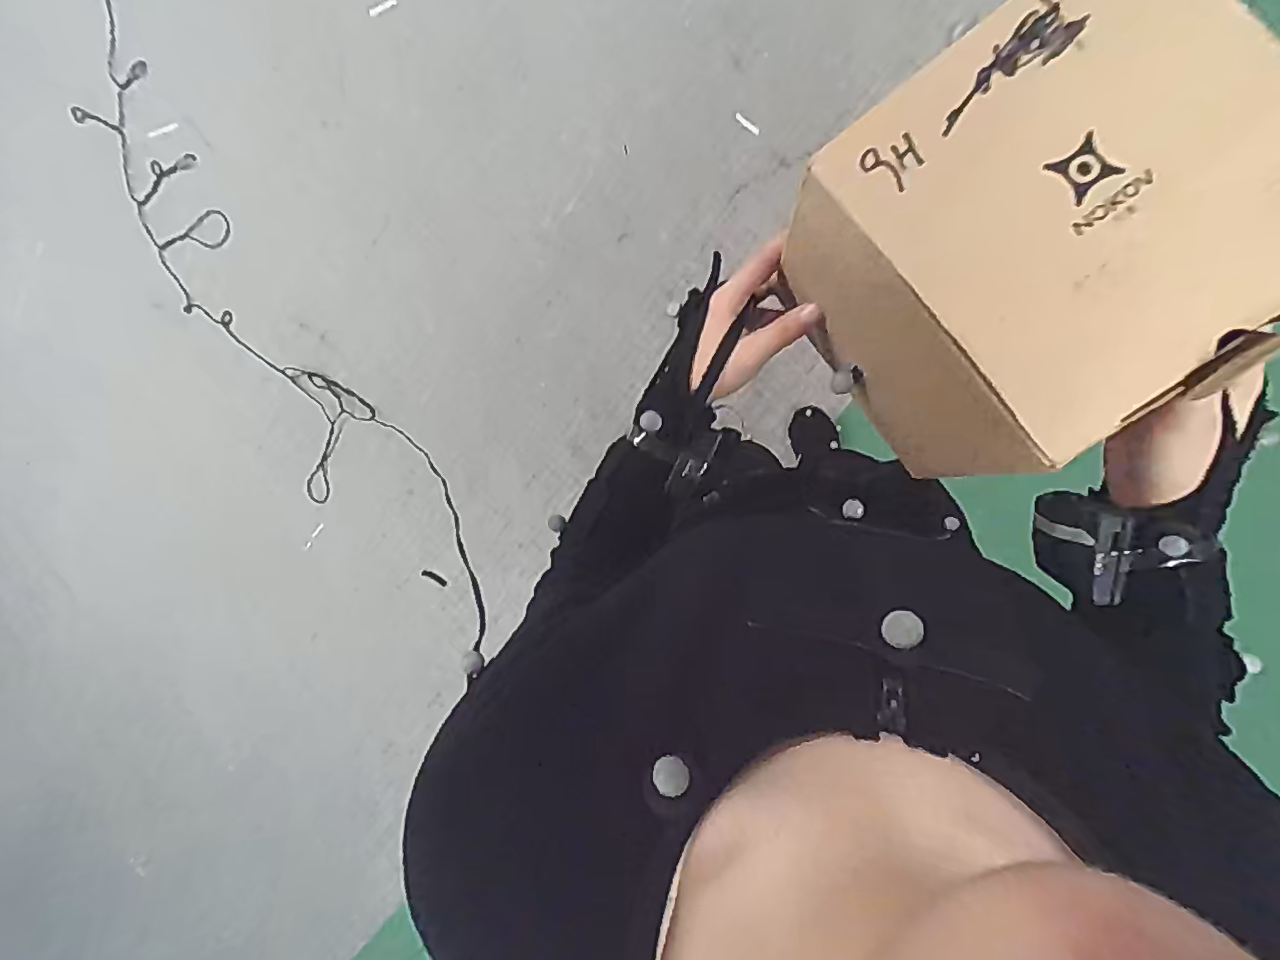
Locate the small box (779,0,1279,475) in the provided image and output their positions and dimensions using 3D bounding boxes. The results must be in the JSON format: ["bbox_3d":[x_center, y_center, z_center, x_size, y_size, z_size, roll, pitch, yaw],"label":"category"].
[{"bbox_3d":[0.201,-0.118,0.313,0.168,0.176,0.179,-35,83,7],"label":"small box"}]
